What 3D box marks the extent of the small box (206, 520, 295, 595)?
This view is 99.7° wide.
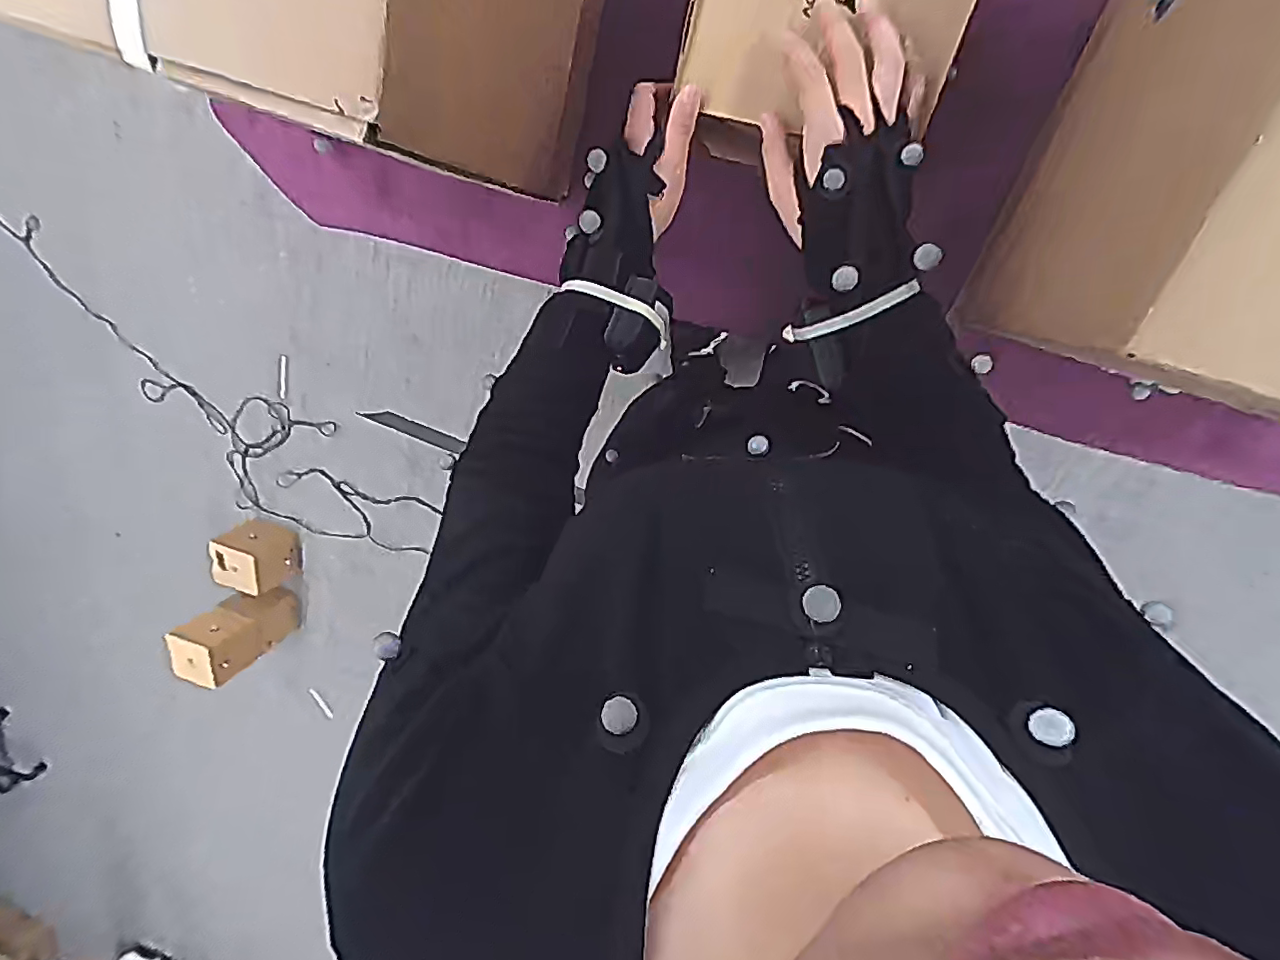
[{"bbox_3d":[-1.314,0.255,1.832,0.179,0.176,0.168,17,114,8],"label":"small box"}]

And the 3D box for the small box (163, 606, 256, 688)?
[{"bbox_3d":[-1.421,0.549,1.796,0.168,0.176,0.179,14,114,10],"label":"small box"}]

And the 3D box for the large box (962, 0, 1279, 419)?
[{"bbox_3d":[0.454,-0.227,0.285,0.320,0.320,0.408,20,112,7],"label":"large box"}]
